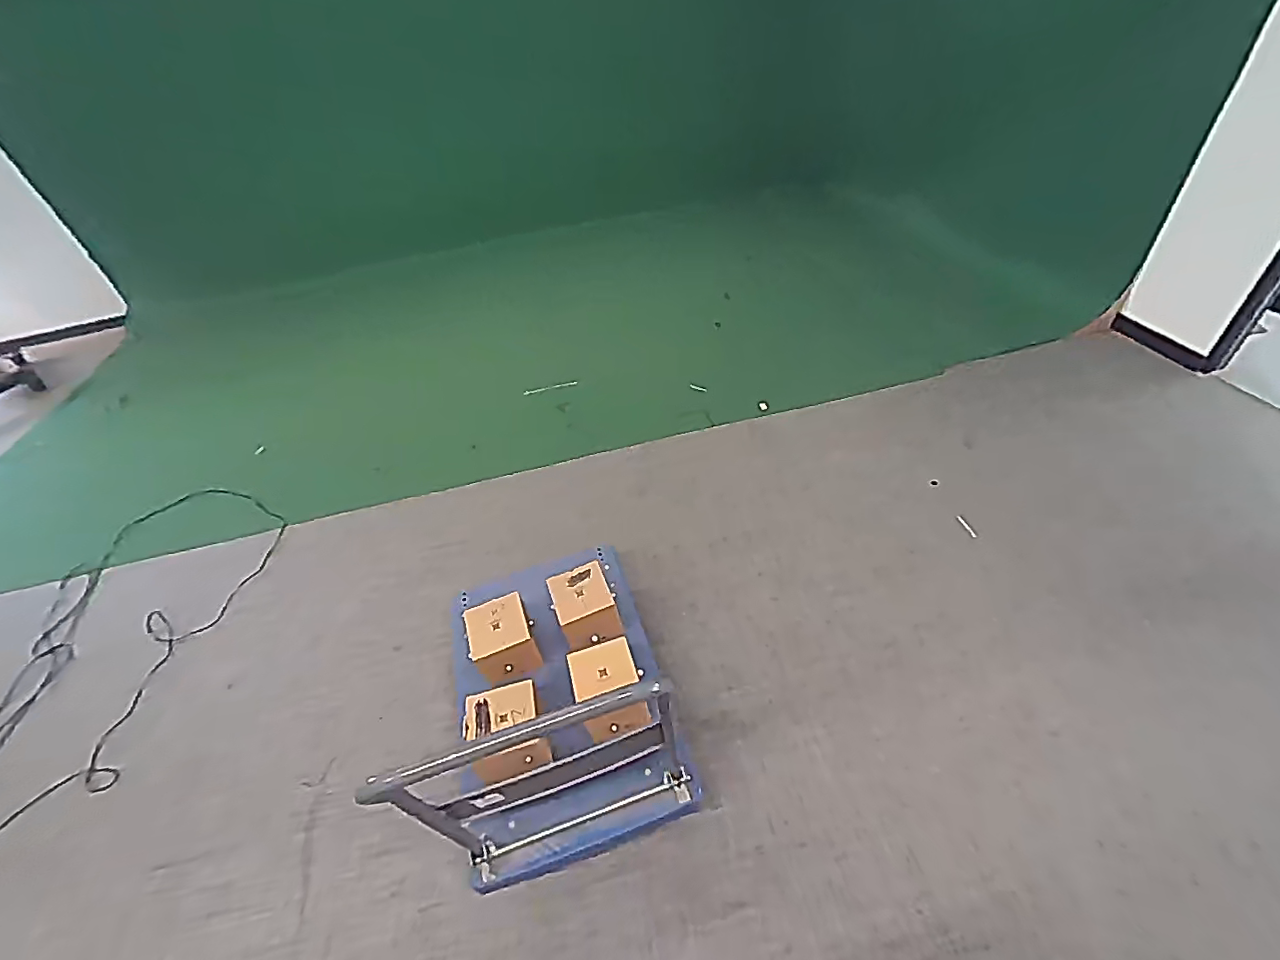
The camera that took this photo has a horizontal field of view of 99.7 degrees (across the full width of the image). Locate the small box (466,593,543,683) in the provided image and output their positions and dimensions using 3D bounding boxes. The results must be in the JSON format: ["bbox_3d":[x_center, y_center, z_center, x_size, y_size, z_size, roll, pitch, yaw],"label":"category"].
[{"bbox_3d":[-0.394,0.469,1.582,0.168,0.176,0.179,-19,44,-10],"label":"small box"}]

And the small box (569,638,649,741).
[{"bbox_3d":[-0.082,0.558,1.437,0.168,0.176,0.179,-16,45,-7],"label":"small box"}]

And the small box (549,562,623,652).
[{"bbox_3d":[-0.161,0.384,1.628,0.168,0.176,0.179,-20,46,-9],"label":"small box"}]
